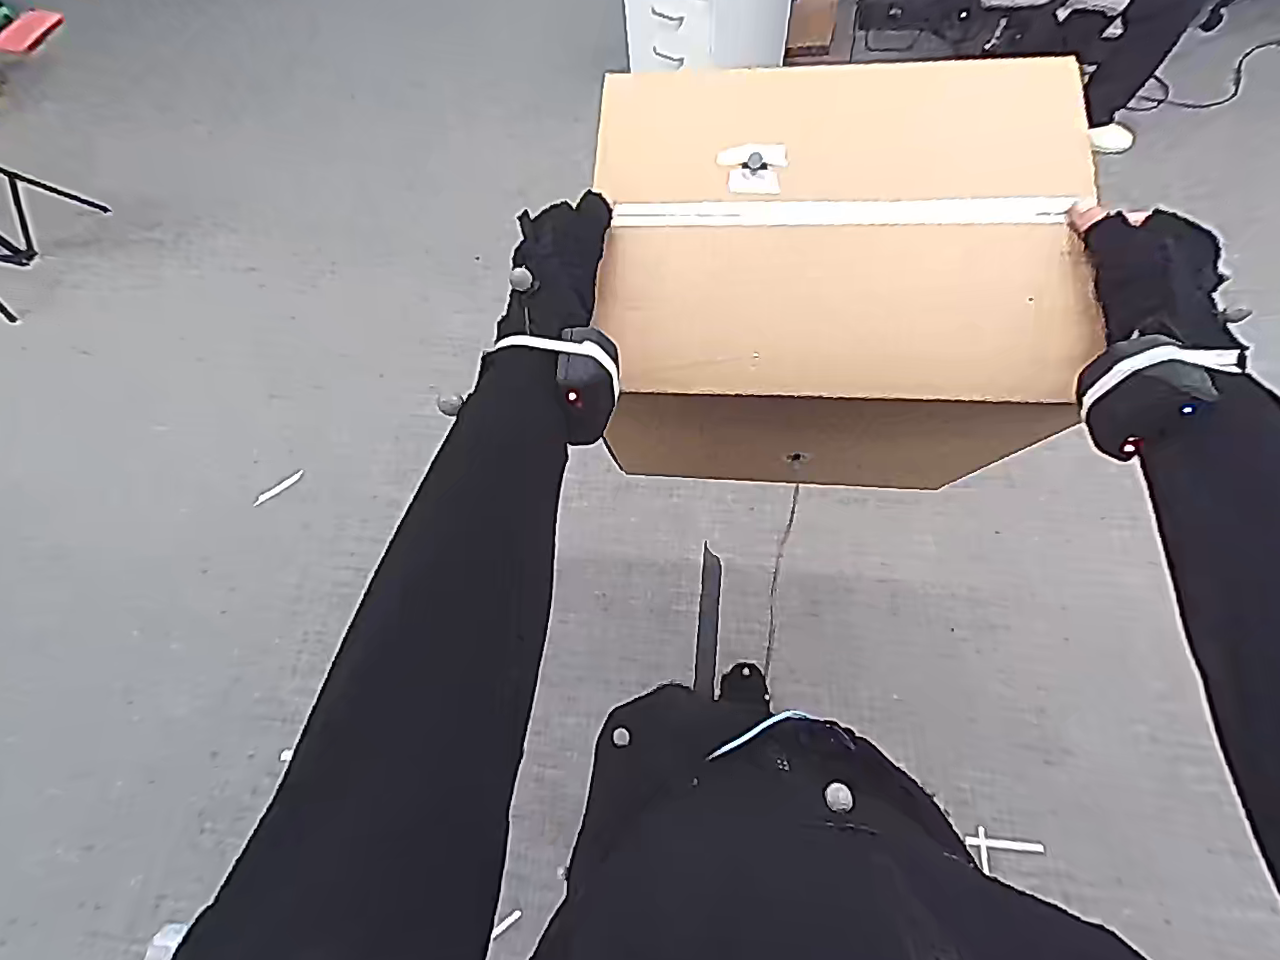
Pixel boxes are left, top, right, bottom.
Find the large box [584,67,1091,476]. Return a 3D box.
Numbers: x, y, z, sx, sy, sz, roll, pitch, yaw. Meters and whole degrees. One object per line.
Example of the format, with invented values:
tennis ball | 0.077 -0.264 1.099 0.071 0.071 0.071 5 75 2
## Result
large box | 0.176 -0.187 0.610 0.408 0.320 0.320 3 77 8
